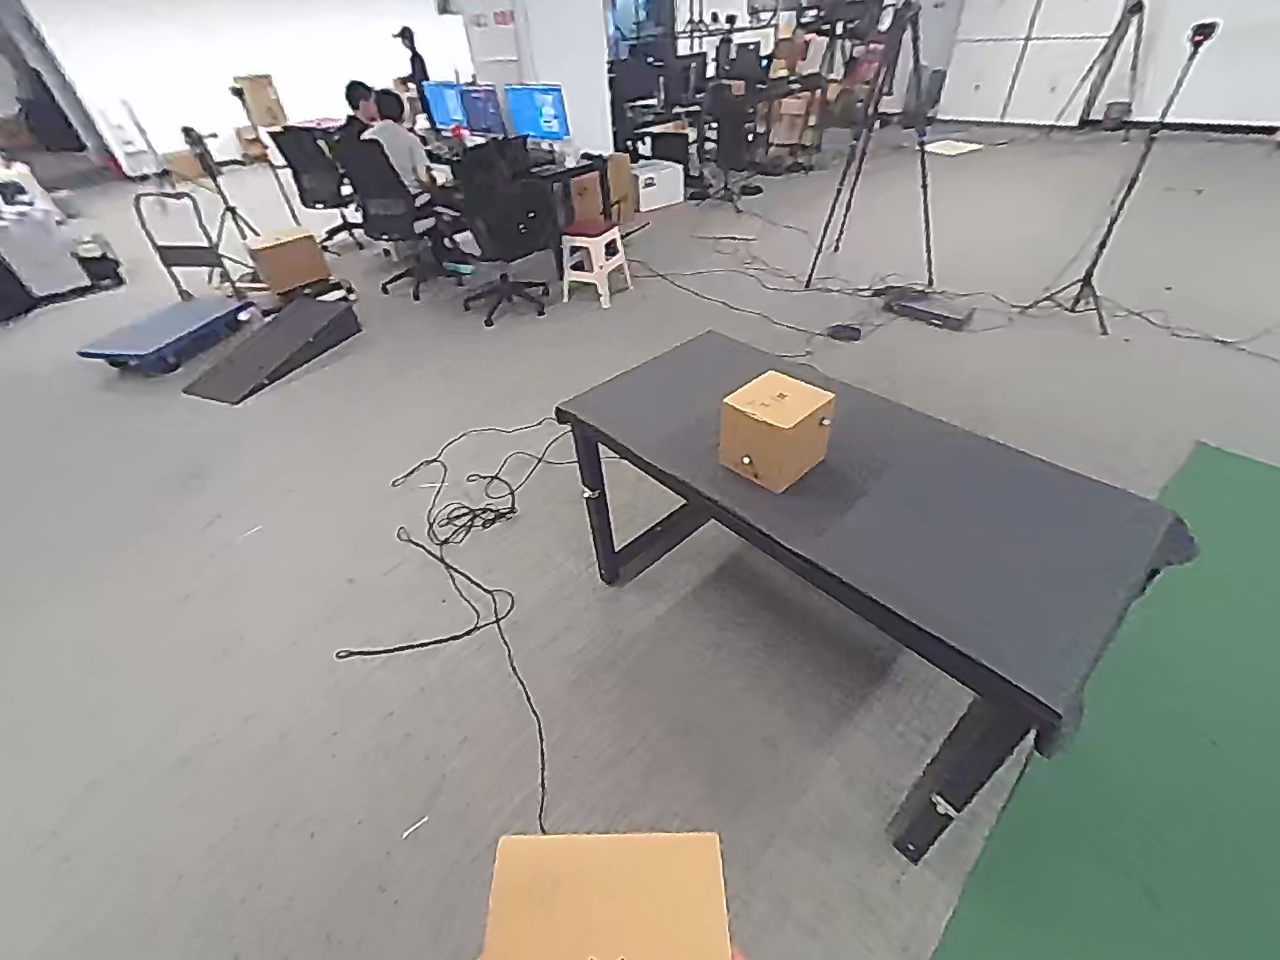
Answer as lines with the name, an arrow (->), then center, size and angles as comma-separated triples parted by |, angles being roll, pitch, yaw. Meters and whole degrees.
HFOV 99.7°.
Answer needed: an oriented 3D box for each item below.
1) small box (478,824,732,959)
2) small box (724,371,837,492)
small box -> -0.025, 0.374, 0.387 | 0.168, 0.176, 0.179 | 0, 41, -2
small box -> 0.295, -0.106, 1.171 | 0.179, 0.176, 0.168 | -33, 46, -30
